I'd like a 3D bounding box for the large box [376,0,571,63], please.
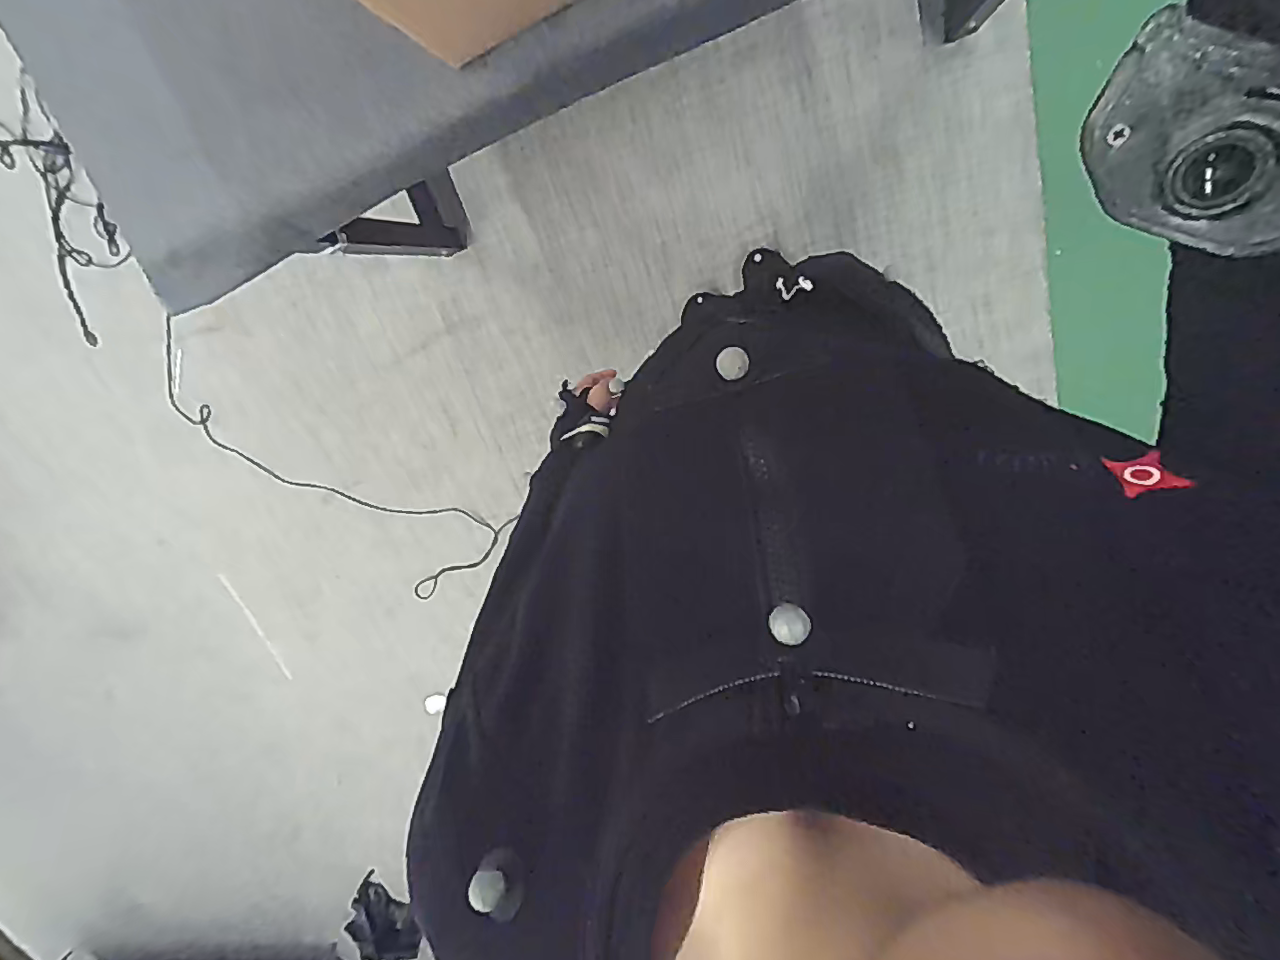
[{"bbox_3d":[-0.076,-0.544,0.299,0.408,0.320,0.320,-17,107,15],"label":"large box"}]
